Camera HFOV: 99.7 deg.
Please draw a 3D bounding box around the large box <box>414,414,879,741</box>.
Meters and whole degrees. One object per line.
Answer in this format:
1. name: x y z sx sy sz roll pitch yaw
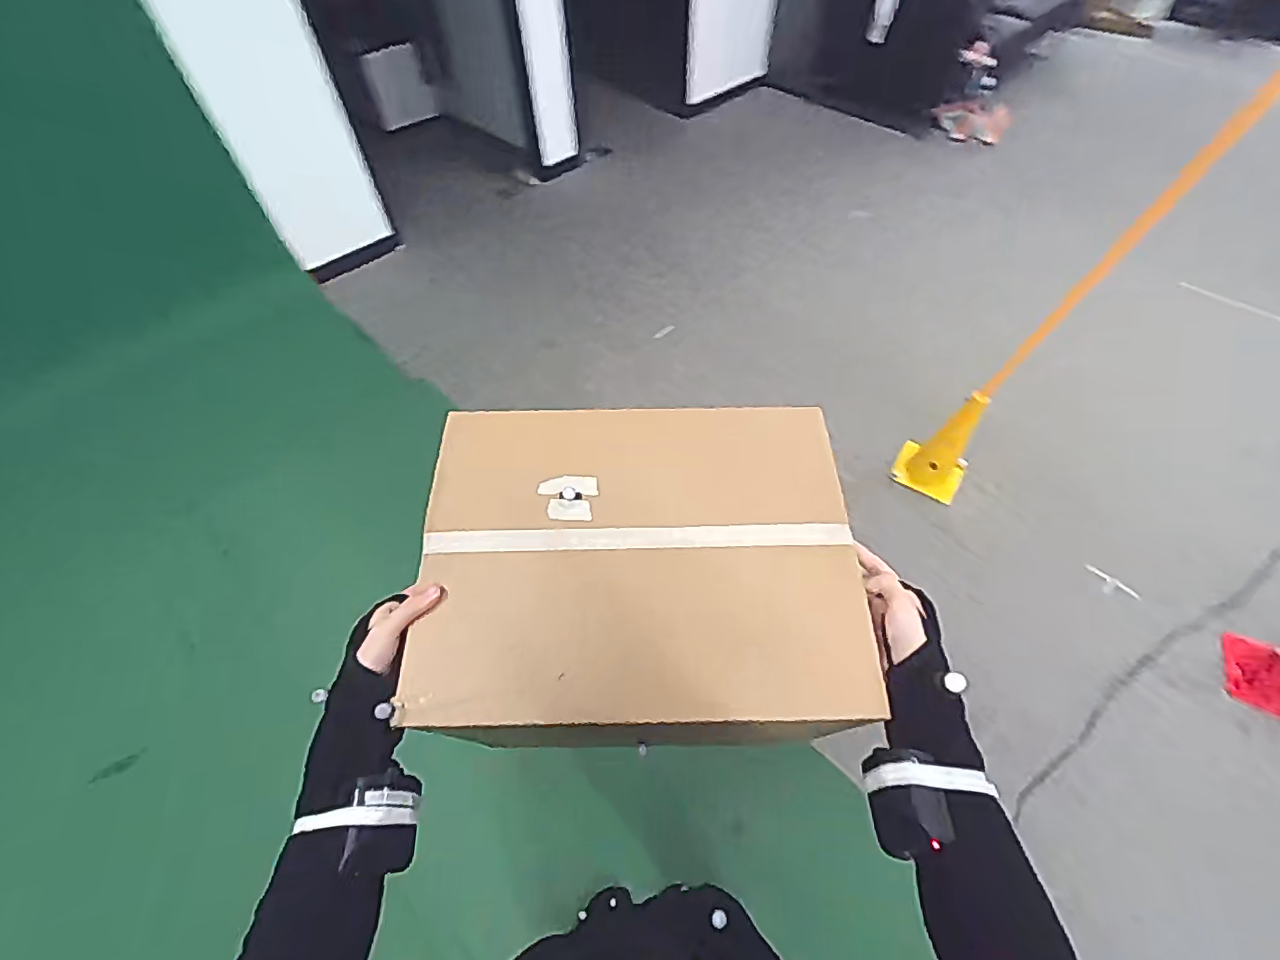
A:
1. large box: 0.008 0.138 0.657 0.408 0.320 0.320 -1 60 1
